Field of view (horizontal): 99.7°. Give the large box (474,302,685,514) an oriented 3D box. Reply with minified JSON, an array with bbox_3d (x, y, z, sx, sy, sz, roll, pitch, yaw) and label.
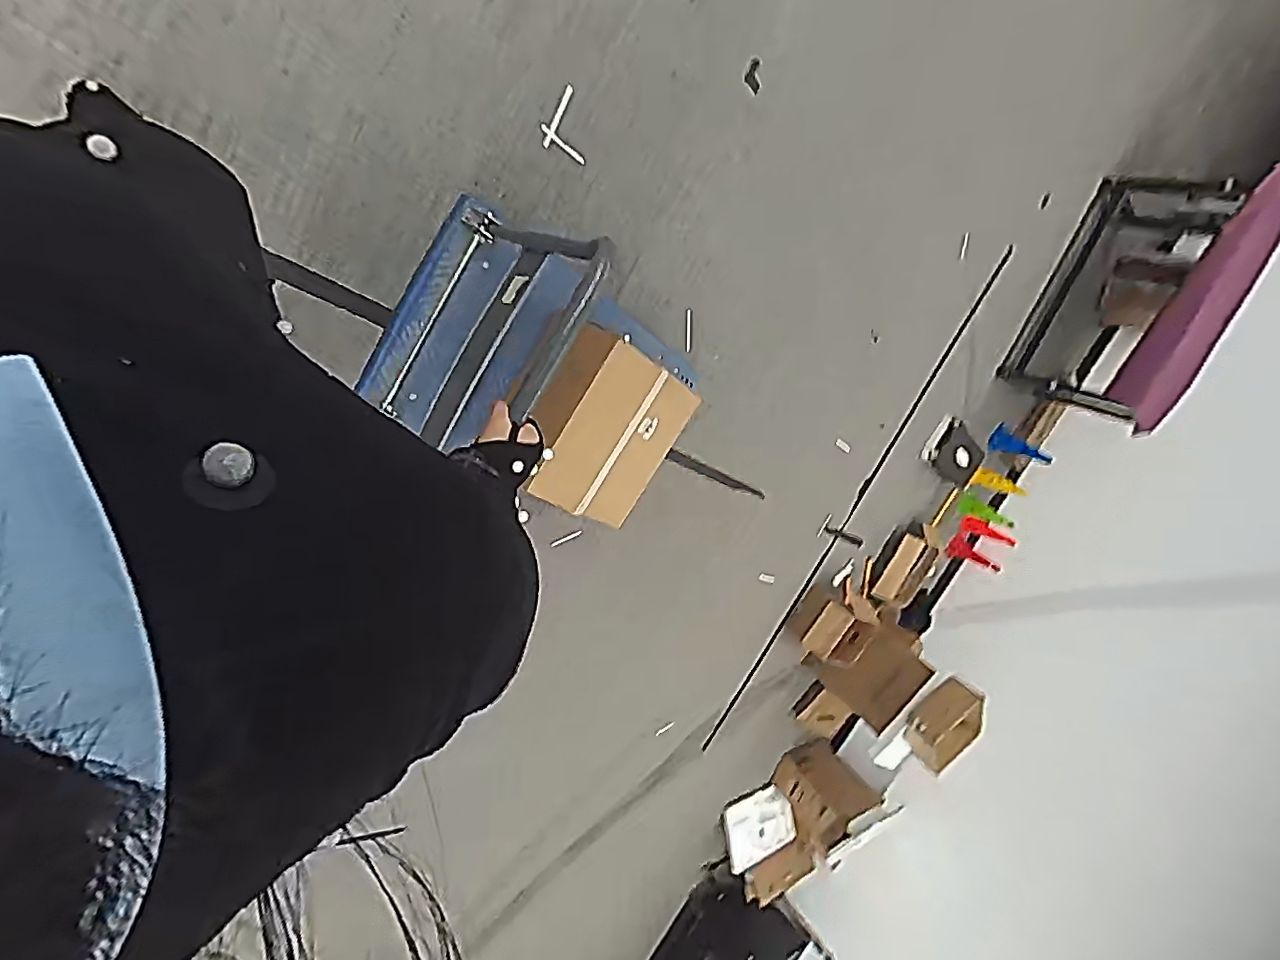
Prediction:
[{"bbox_3d":[-0.166,-0.186,1.406,0.320,0.320,0.408,27,96,-45],"label":"large box"}]
